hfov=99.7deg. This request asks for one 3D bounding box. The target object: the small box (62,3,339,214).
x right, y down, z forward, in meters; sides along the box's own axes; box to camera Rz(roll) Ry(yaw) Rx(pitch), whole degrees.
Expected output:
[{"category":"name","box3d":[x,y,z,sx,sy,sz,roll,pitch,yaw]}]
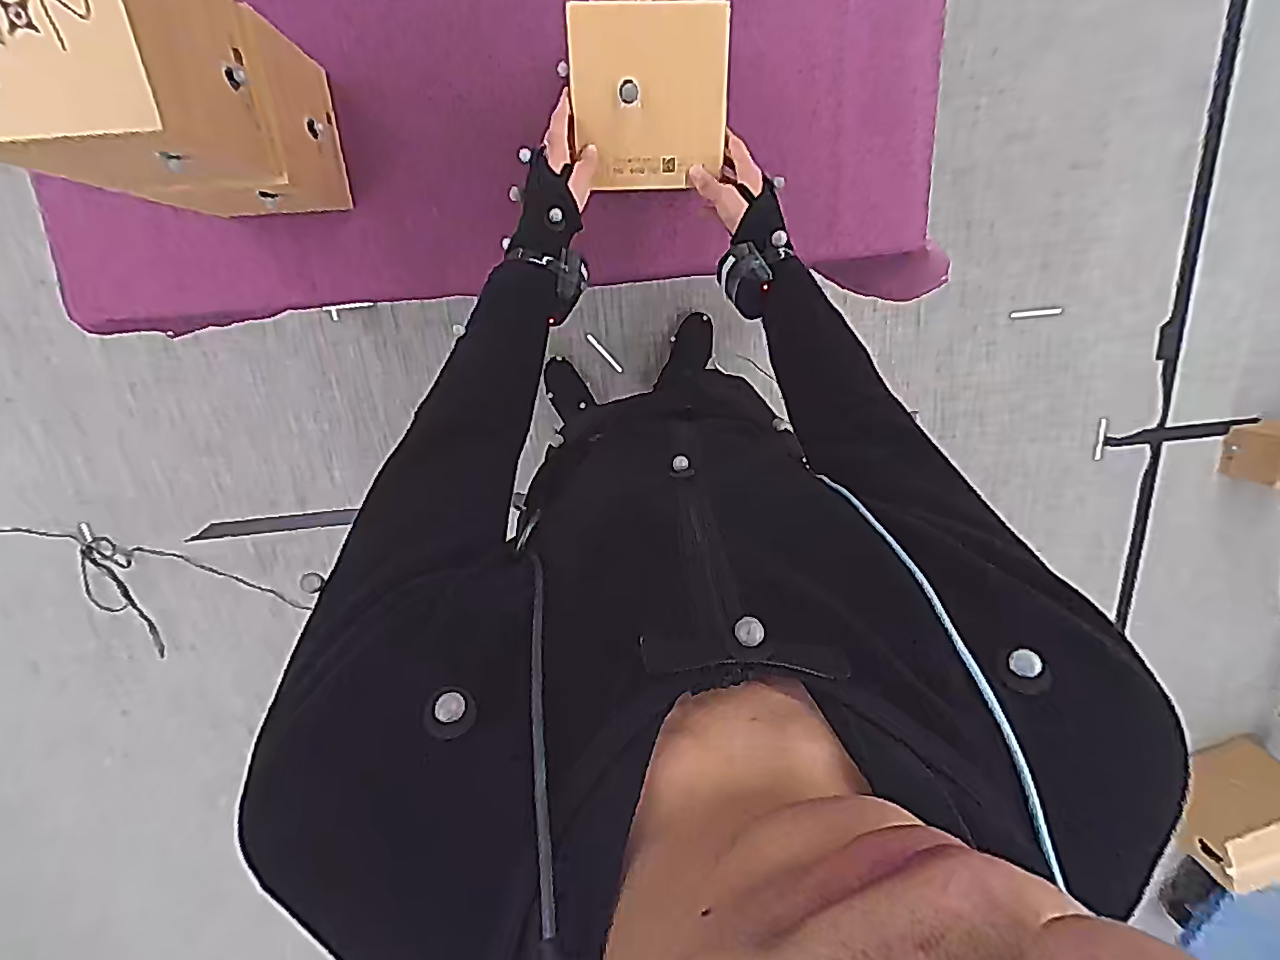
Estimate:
[{"category":"small box","box3d":[-0.480,-0.416,0.632,0.179,0.176,0.168,-4,108,-3]}]

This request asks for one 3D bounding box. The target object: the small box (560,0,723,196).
[{"category":"small box","box3d":[0.002,-0.436,0.639,0.168,0.179,0.176,-3,118,-2]}]

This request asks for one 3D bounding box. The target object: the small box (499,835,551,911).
[{"category":"small box","box3d":[-0.430,1.473,2.040,0.168,0.176,0.179,-3,109,-3]}]
